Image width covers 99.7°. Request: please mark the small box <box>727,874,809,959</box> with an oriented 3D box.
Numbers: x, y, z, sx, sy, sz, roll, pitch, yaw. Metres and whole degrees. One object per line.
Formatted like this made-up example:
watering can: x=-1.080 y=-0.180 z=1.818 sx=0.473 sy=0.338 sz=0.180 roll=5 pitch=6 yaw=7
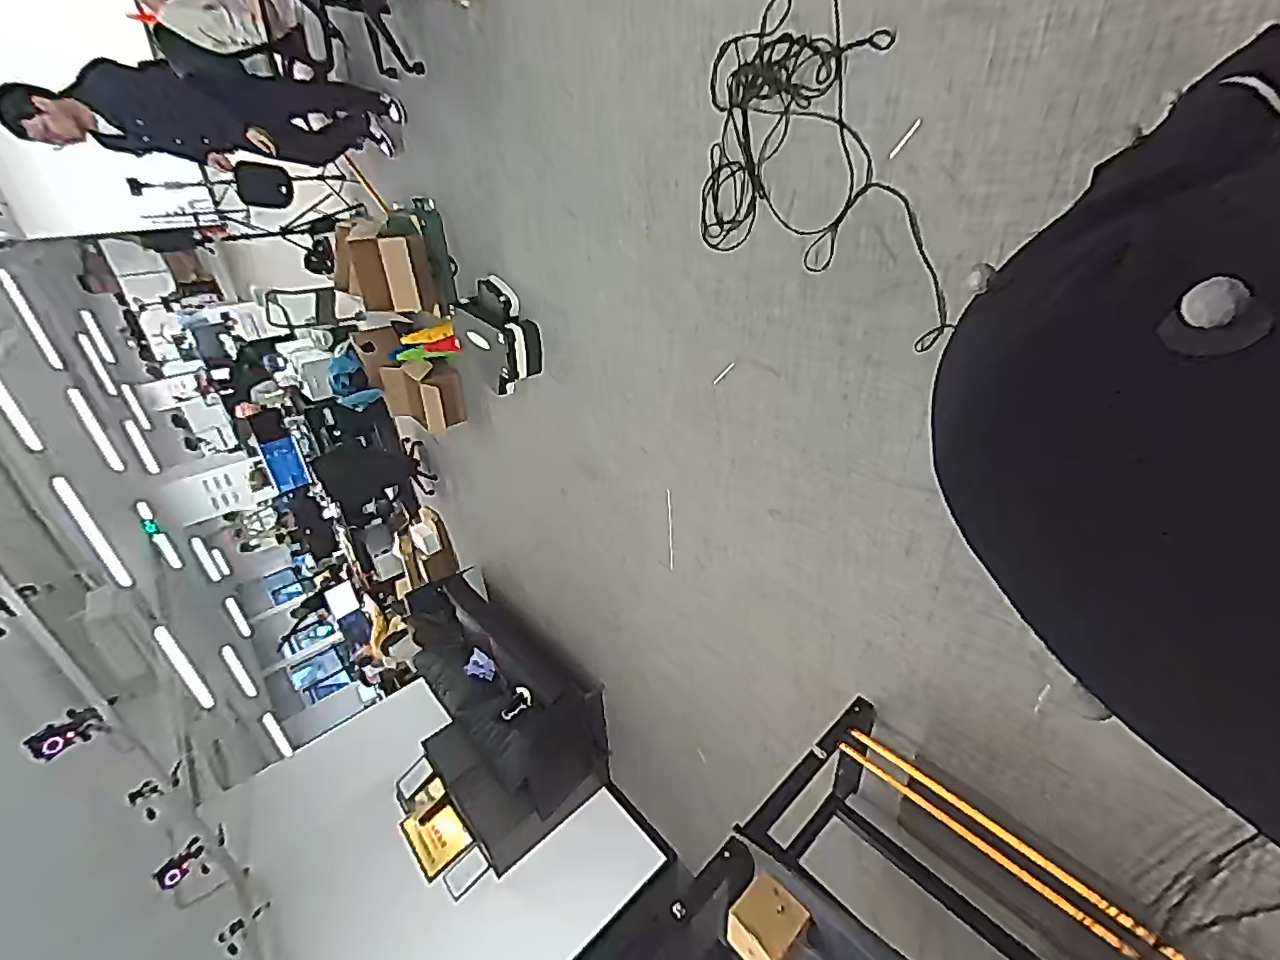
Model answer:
small box: x=0.369 y=1.304 z=1.563 sx=0.168 sy=0.176 sz=0.179 roll=26 pitch=130 yaw=43
